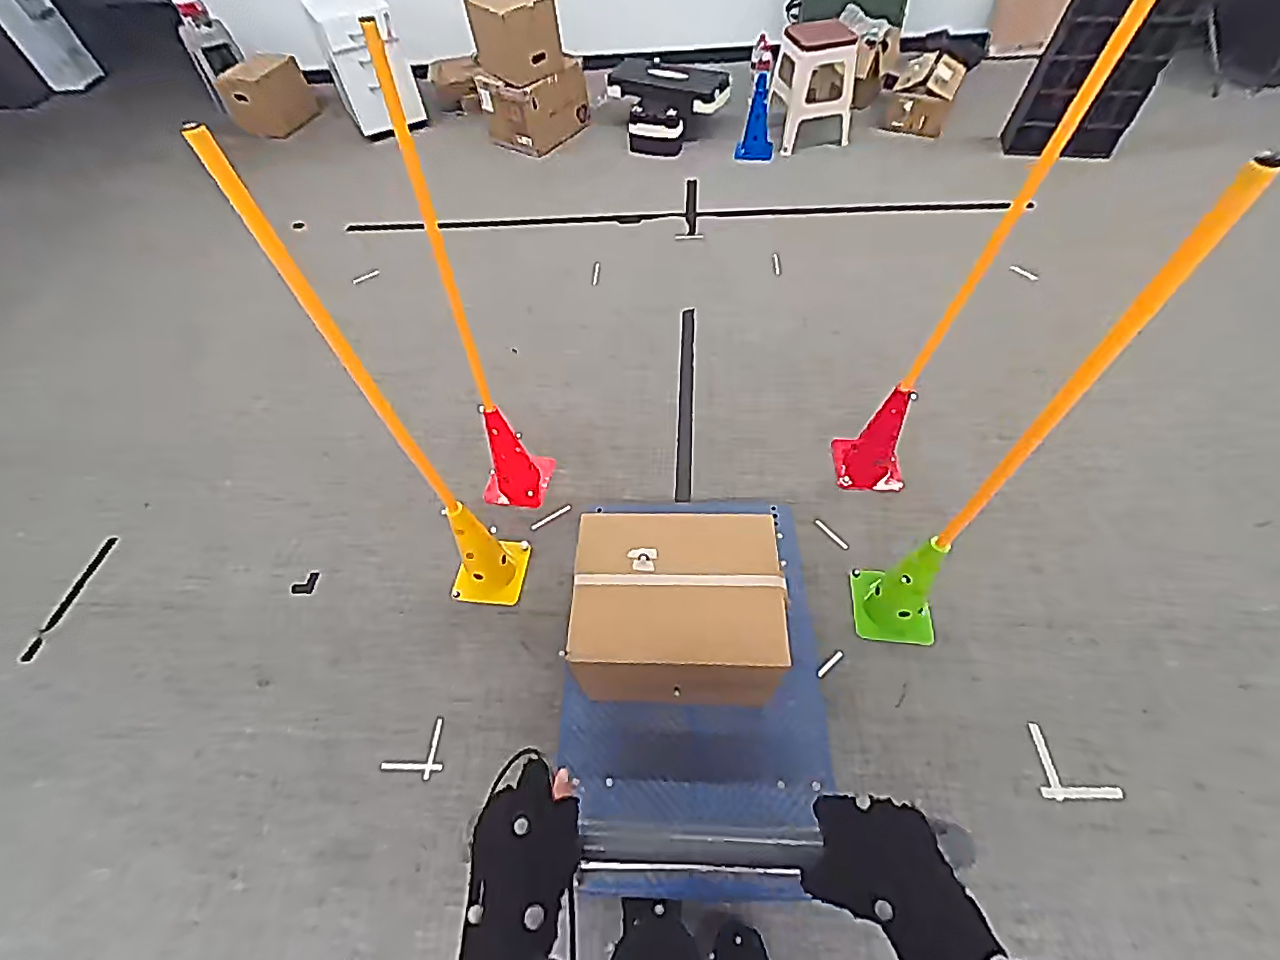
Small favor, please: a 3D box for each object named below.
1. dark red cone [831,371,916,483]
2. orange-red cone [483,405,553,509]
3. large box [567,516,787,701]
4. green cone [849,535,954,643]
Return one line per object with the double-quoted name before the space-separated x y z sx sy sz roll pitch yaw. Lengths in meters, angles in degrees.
"dark red cone" 0.721 -0.165 1.599 0.201 0.394 0.202 2 56 3
"orange-red cone" -0.409 -0.096 1.656 0.198 0.360 0.199 8 55 8
"large box" 0.080 0.288 1.176 0.408 0.320 0.320 -1 55 5
"green cone" 0.675 0.243 1.340 0.202 0.368 0.200 5 56 6
